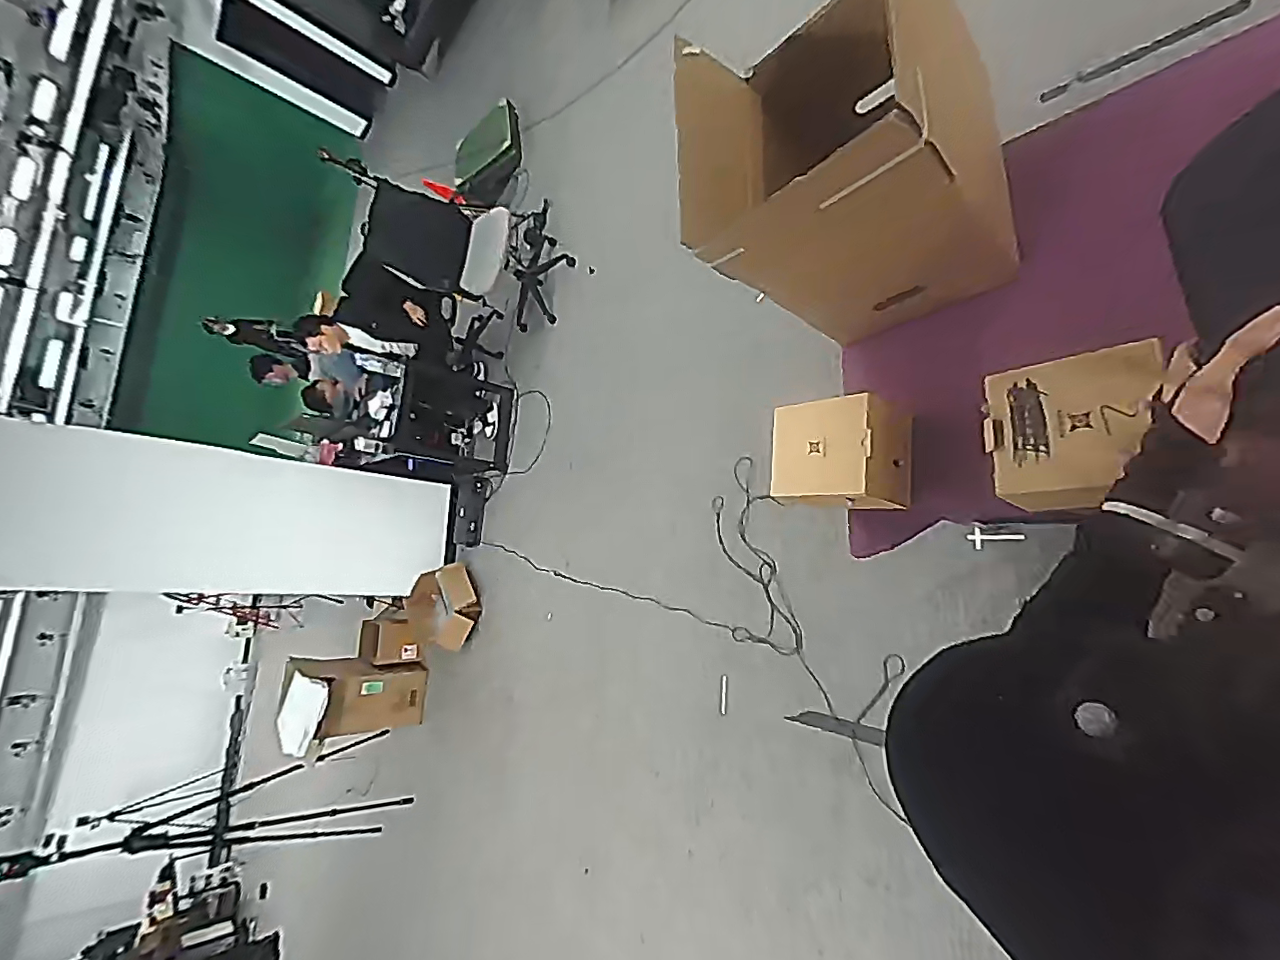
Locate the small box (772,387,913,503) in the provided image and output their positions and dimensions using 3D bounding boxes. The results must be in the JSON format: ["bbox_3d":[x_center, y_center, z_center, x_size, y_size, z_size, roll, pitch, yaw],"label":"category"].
[{"bbox_3d":[0.358,-0.051,0.957,0.179,0.176,0.168,-4,79,47],"label":"small box"}]
